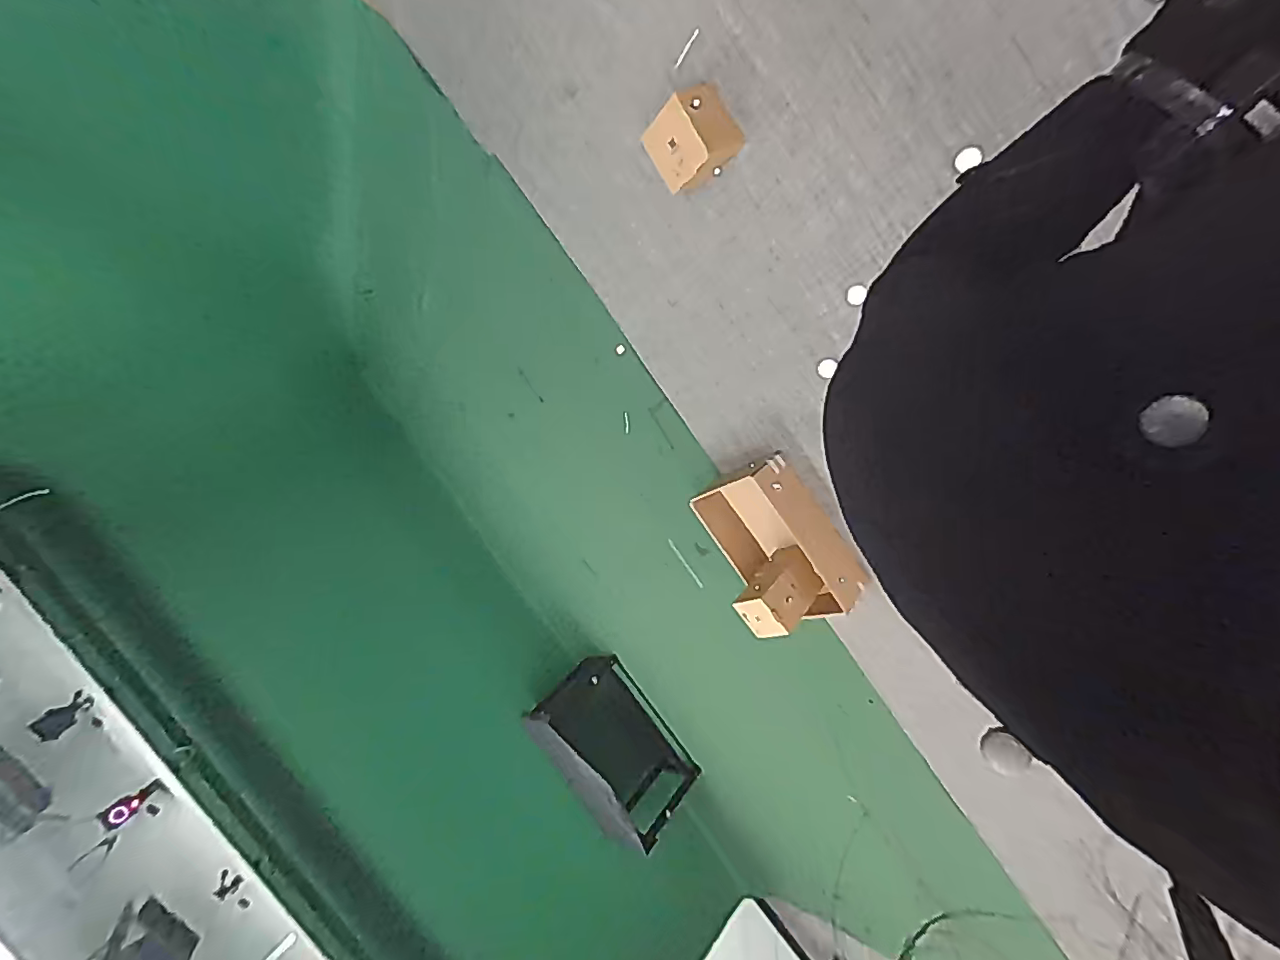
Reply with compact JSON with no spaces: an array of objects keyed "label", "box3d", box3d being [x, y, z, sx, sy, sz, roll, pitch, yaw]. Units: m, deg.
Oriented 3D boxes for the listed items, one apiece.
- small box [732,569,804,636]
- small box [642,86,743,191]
[{"label":"small box","box3d":[0.478,0.447,1.987,0.168,0.176,0.179,53,145,-2]},{"label":"small box","box3d":[0.143,-0.926,1.462,0.179,0.176,0.168,57,147,-9]}]
